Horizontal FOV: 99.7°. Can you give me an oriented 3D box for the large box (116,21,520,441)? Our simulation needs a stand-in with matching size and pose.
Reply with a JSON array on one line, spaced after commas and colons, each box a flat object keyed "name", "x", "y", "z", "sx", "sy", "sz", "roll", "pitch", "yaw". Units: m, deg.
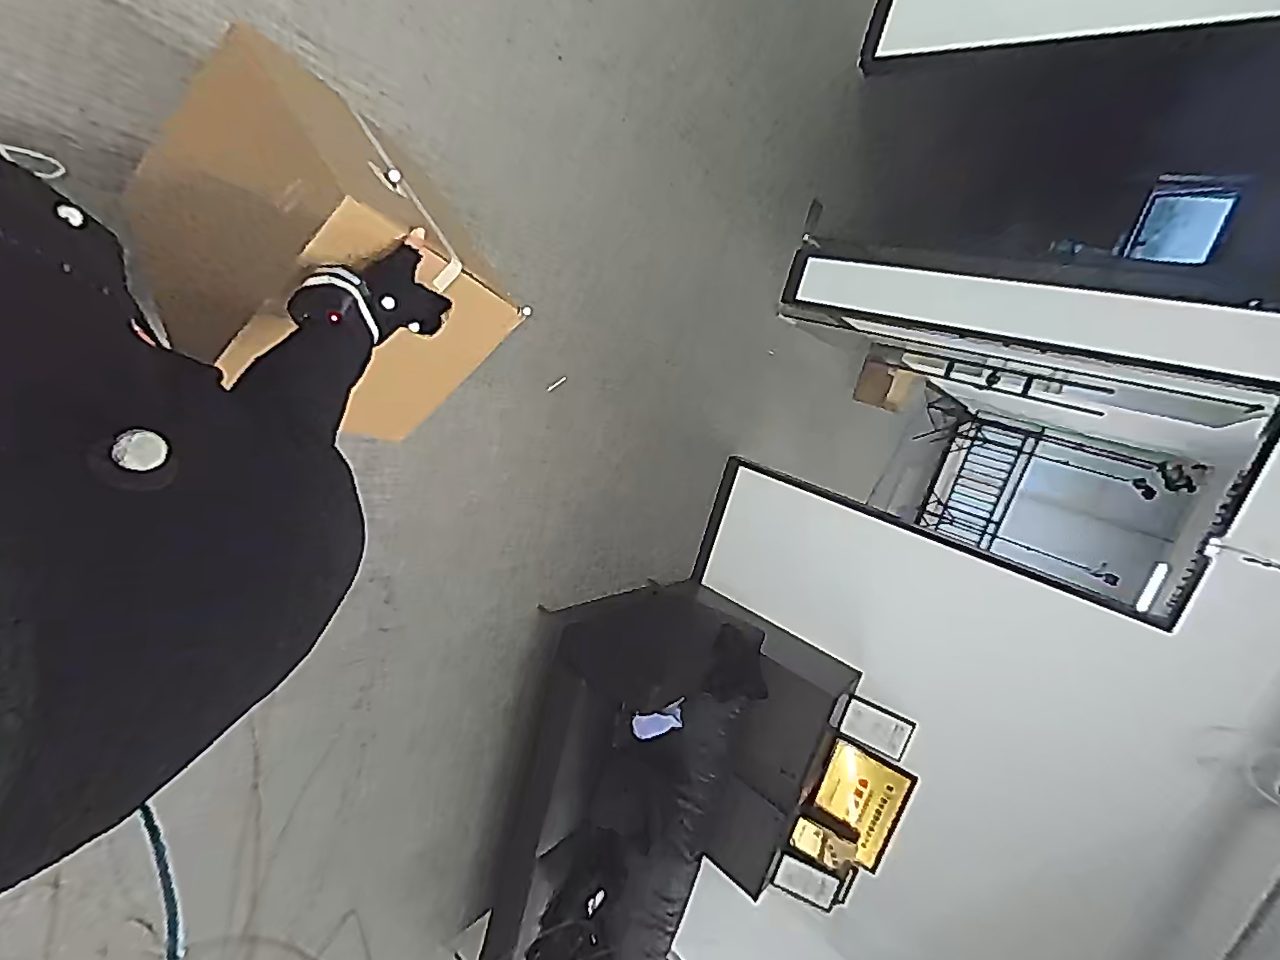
[{"name": "large box", "x": -0.463, "y": -0.325, "z": 0.798, "sx": 0.320, "sy": 0.408, "sz": 0.320, "roll": -40, "pitch": 160, "yaw": 14}]
